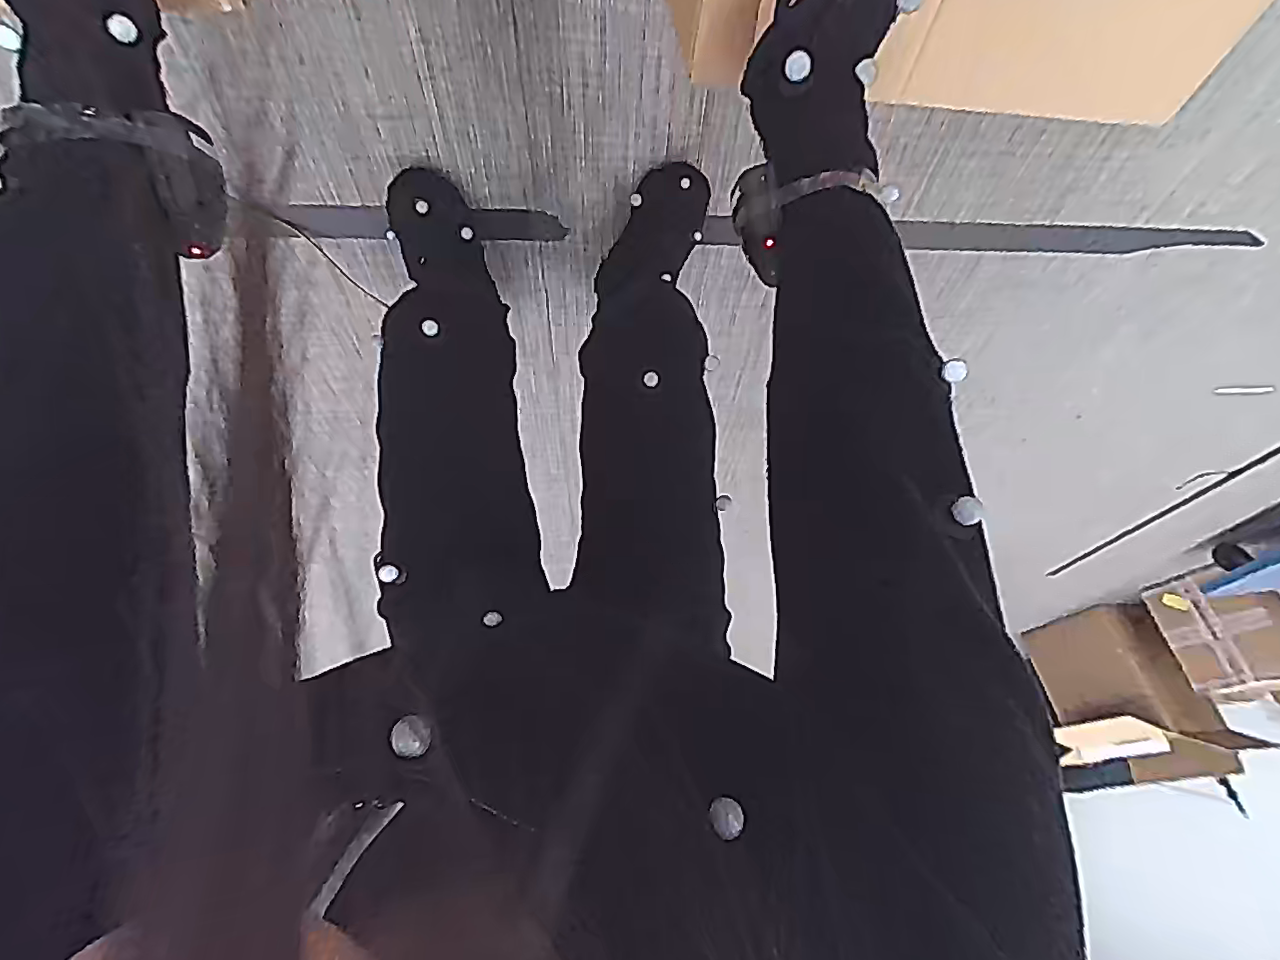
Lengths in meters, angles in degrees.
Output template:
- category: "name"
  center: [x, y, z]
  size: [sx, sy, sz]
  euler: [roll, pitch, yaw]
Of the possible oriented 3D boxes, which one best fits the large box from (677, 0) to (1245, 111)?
- category: "large box"
  center: [0.240, -0.515, 0.385]
  size: [0.408, 0.320, 0.320]
  euler: [-1, 149, -8]
